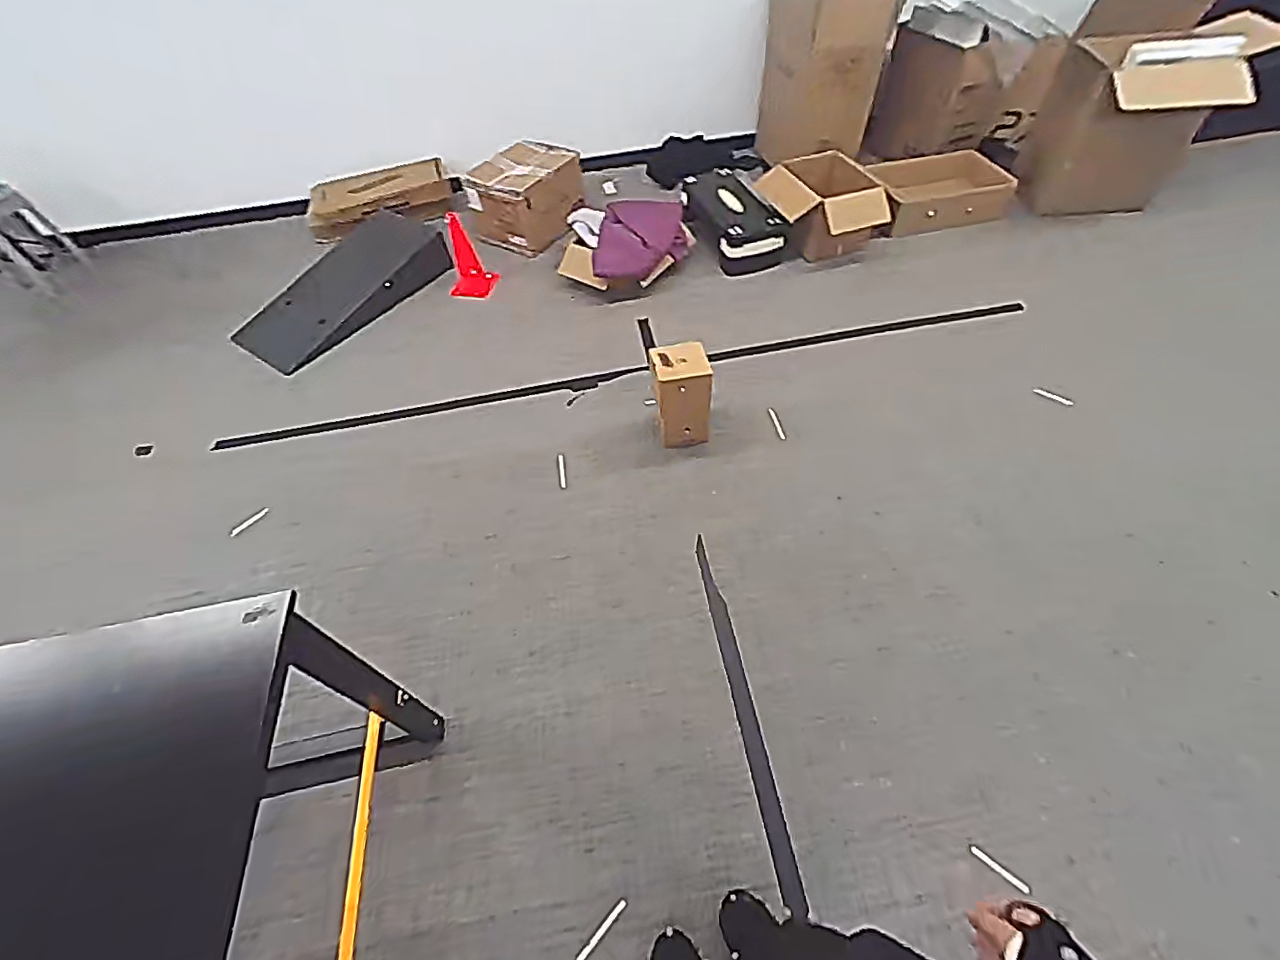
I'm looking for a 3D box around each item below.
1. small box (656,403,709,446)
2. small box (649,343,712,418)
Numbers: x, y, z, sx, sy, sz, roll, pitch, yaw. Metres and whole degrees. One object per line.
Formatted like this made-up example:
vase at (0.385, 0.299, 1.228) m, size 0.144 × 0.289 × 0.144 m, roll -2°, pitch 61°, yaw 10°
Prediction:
small box at (0.151, -0.238, 1.938) m, size 0.168 × 0.176 × 0.179 m, roll -9°, pitch 53°, yaw -2°
small box at (0.134, -0.325, 1.796) m, size 0.179 × 0.176 × 0.168 m, roll -10°, pitch 53°, yaw -4°
